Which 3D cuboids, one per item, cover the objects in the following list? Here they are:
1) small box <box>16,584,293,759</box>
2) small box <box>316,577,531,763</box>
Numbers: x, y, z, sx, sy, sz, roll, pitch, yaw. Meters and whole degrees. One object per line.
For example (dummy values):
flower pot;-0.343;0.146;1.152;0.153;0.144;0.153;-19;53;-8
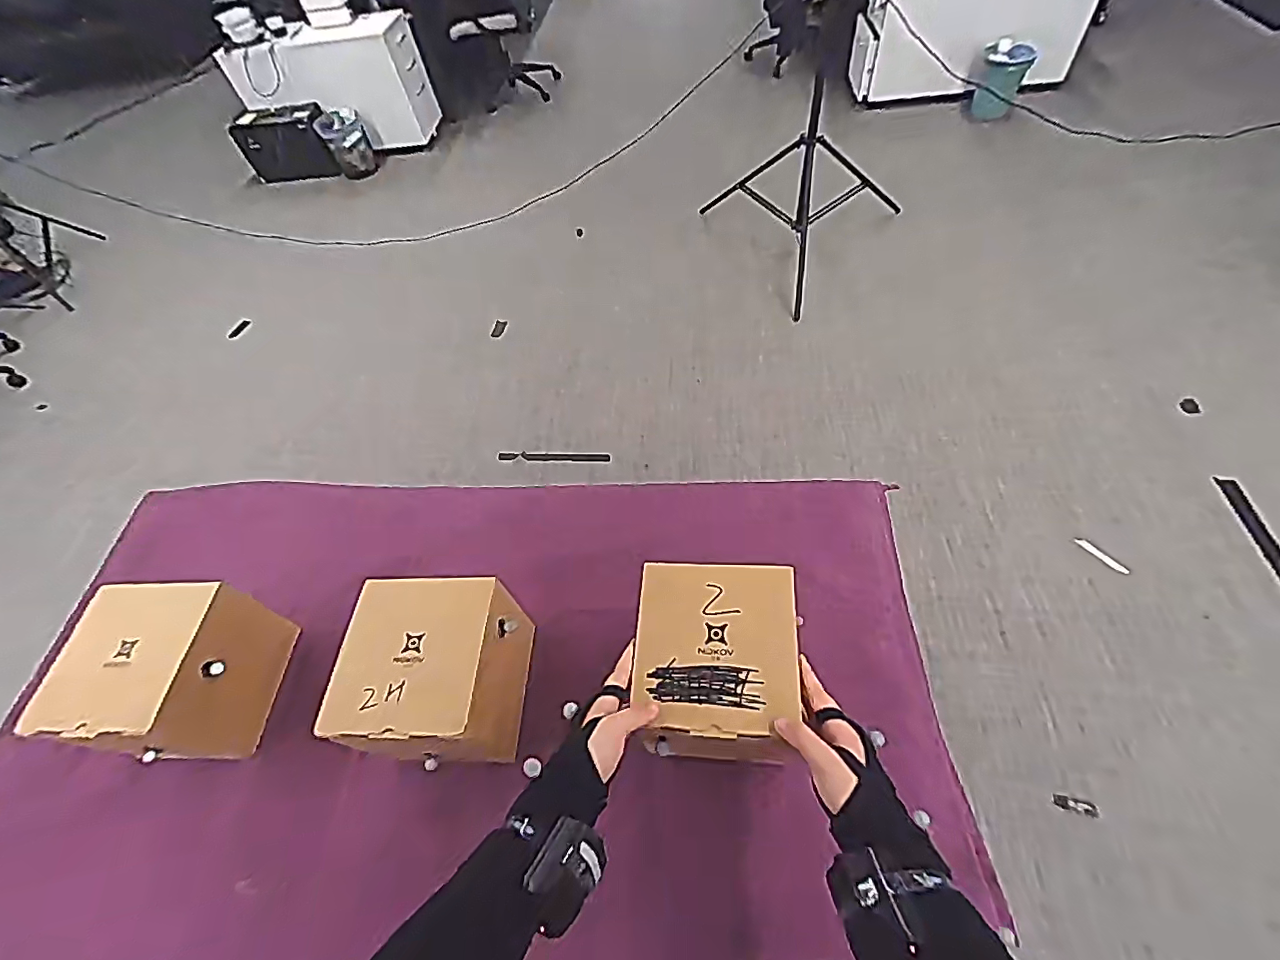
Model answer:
small box;-0.592;0.249;0.695;0.168;0.176;0.179;-3;56;5
small box;-0.240;0.233;0.657;0.168;0.176;0.179;-3;56;7
